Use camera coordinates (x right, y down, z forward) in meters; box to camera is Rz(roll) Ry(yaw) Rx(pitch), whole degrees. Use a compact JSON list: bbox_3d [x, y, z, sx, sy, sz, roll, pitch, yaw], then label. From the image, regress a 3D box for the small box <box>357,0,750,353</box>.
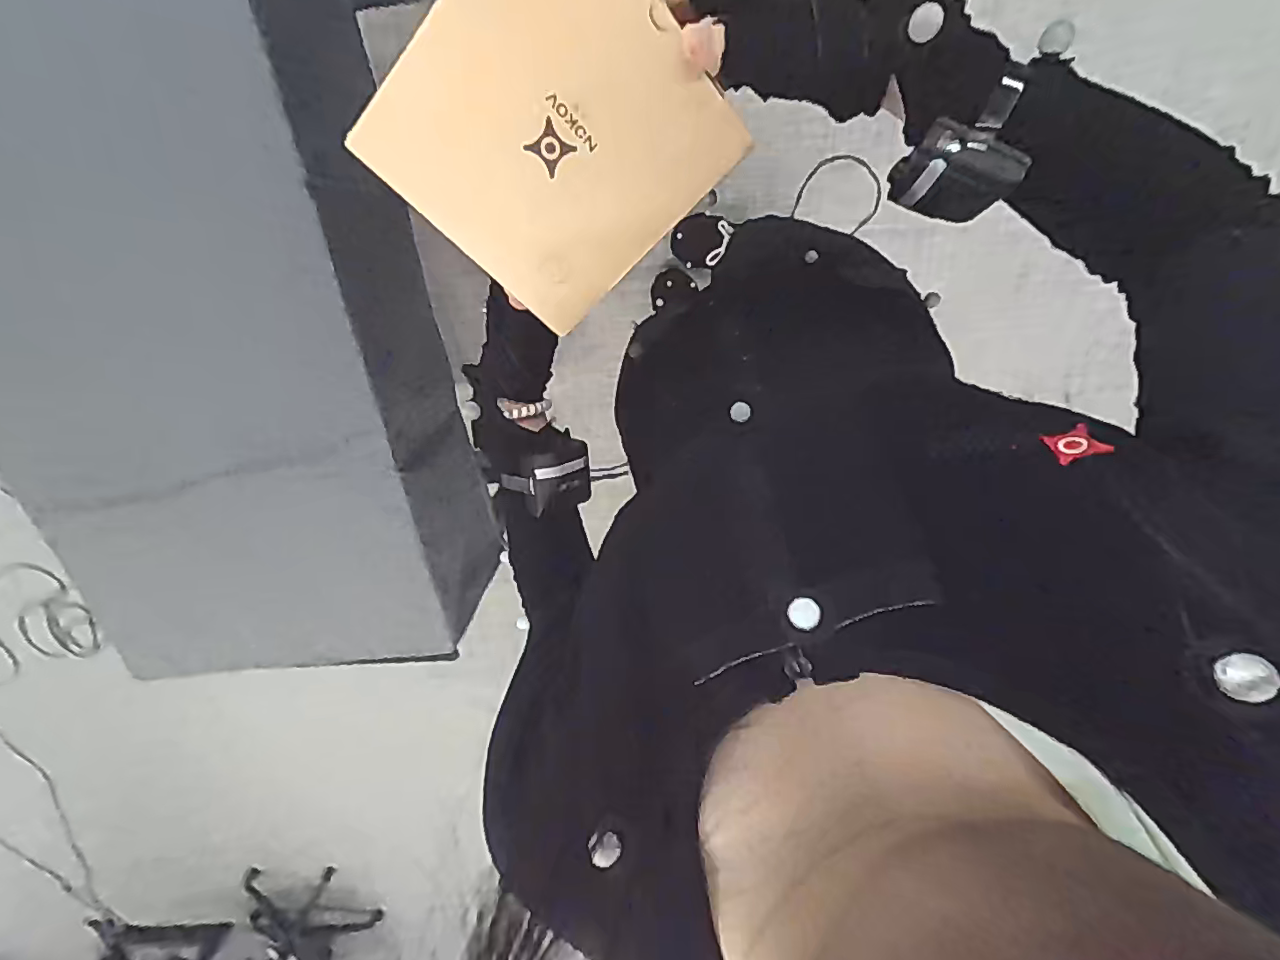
[{"bbox_3d":[-0.053,-0.230,0.382,0.179,0.176,0.168,-38,121,21],"label":"small box"}]
